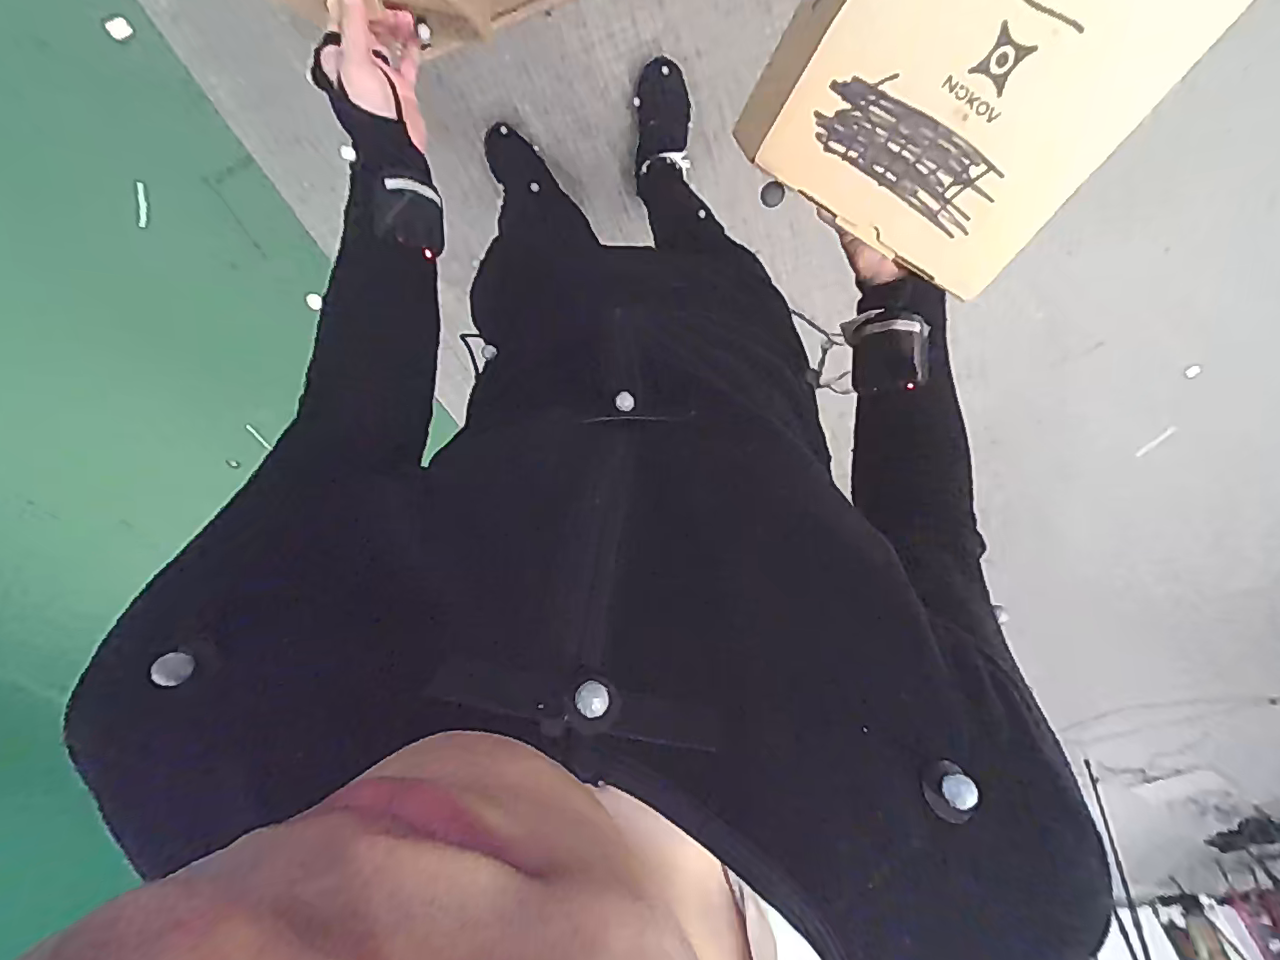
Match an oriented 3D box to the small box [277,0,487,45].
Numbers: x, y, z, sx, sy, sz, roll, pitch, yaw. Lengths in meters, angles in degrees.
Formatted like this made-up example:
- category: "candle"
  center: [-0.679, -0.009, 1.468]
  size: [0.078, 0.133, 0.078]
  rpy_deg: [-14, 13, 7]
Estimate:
- category: "small box"
  center: [-0.242, -0.517, 0.480]
  size: [0.168, 0.176, 0.179]
  rpy_deg: [2, 116, -1]
